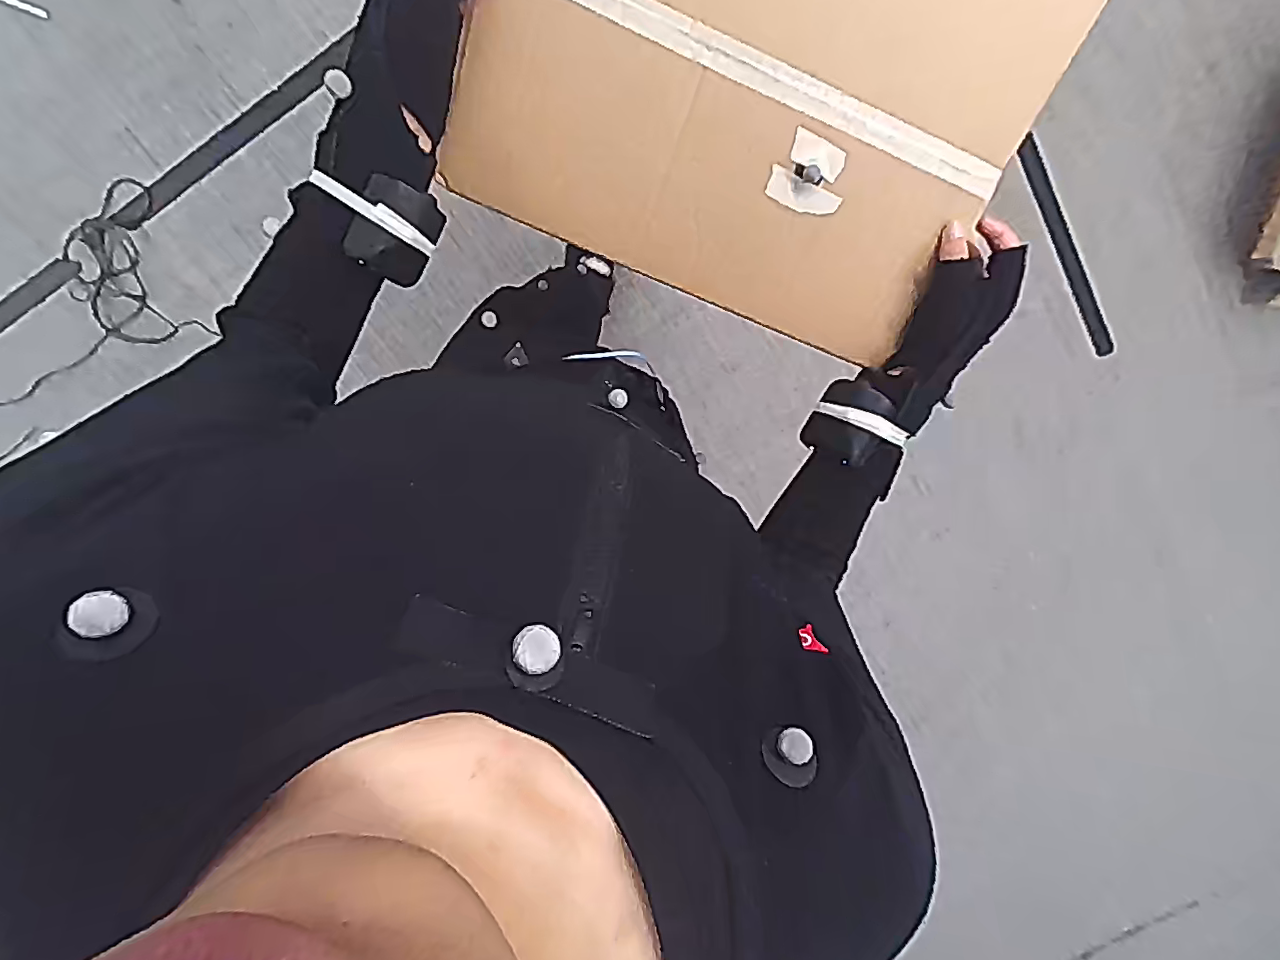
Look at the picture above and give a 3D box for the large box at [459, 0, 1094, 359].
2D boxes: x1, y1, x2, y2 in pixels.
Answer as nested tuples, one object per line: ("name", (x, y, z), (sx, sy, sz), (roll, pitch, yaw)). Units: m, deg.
("large box", (0.091, -0.363, 0.536), (0.408, 0.320, 0.320), (20, 115, -9))
